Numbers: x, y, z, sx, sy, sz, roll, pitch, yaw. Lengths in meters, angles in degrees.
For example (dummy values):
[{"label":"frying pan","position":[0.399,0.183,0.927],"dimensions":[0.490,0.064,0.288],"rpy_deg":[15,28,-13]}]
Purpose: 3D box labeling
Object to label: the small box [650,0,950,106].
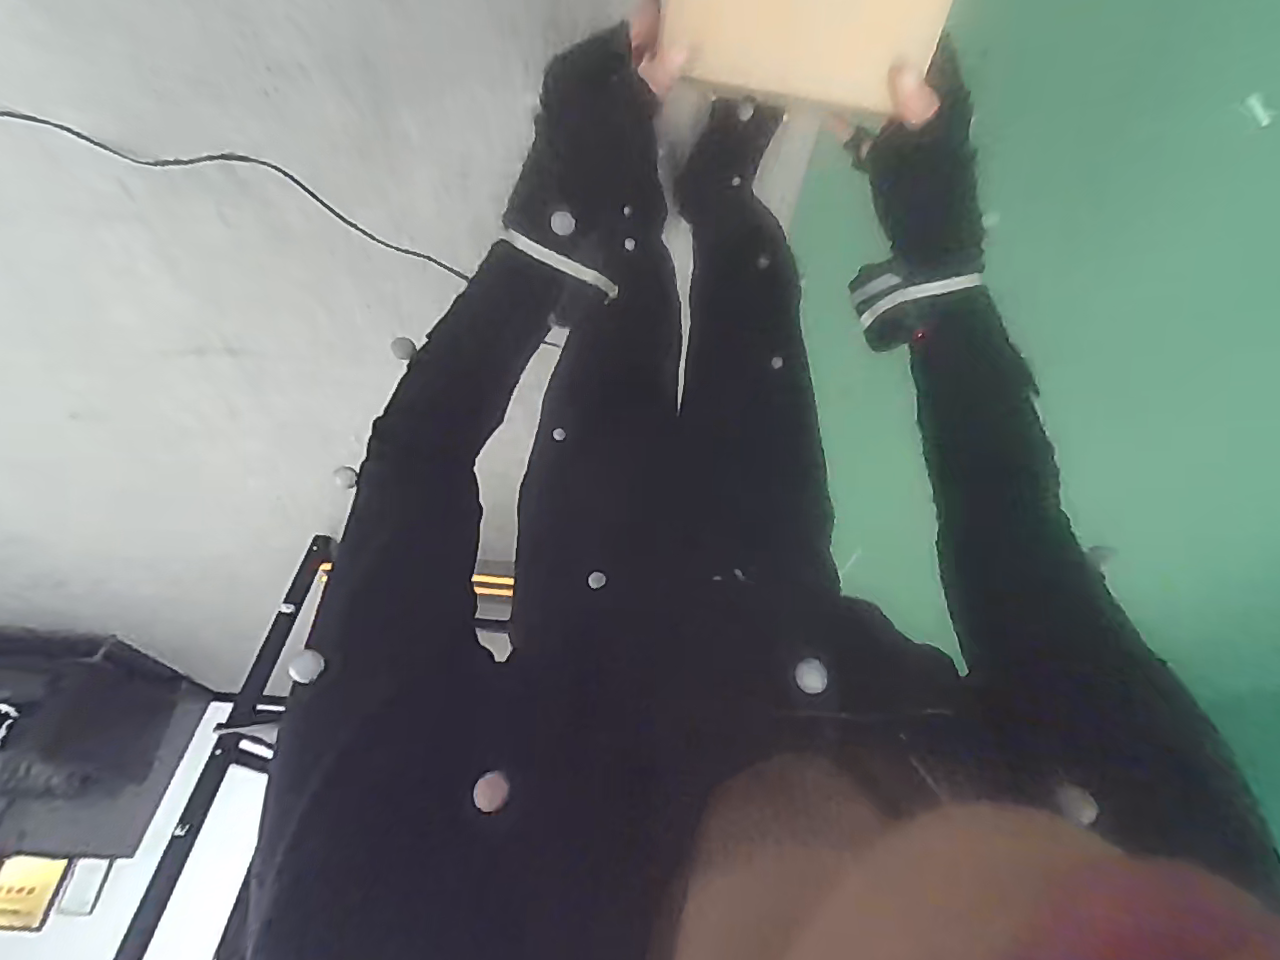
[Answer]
[{"label":"small box","position":[0.100,-0.360,0.349],"dimensions":[0.168,0.176,0.179],"rpy_deg":[4,124,-7]}]
